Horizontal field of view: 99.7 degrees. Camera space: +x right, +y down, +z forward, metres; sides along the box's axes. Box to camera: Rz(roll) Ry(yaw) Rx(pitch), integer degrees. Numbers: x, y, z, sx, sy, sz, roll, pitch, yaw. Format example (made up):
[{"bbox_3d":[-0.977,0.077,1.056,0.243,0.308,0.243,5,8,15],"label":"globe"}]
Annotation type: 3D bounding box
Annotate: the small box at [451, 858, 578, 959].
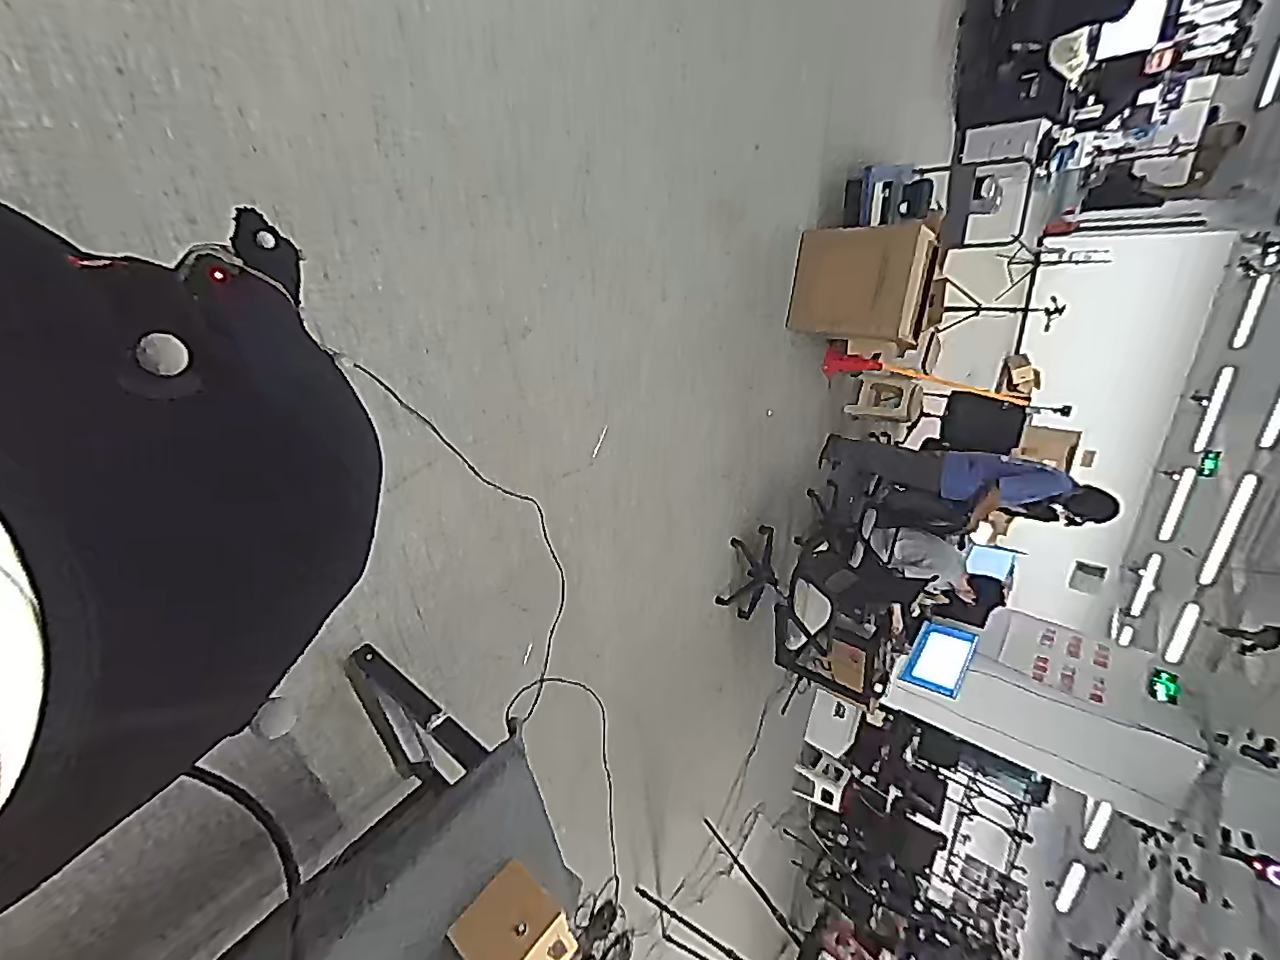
[{"bbox_3d":[-0.260,0.952,1.134,0.179,0.176,0.168,-35,128,-38],"label":"small box"}]
